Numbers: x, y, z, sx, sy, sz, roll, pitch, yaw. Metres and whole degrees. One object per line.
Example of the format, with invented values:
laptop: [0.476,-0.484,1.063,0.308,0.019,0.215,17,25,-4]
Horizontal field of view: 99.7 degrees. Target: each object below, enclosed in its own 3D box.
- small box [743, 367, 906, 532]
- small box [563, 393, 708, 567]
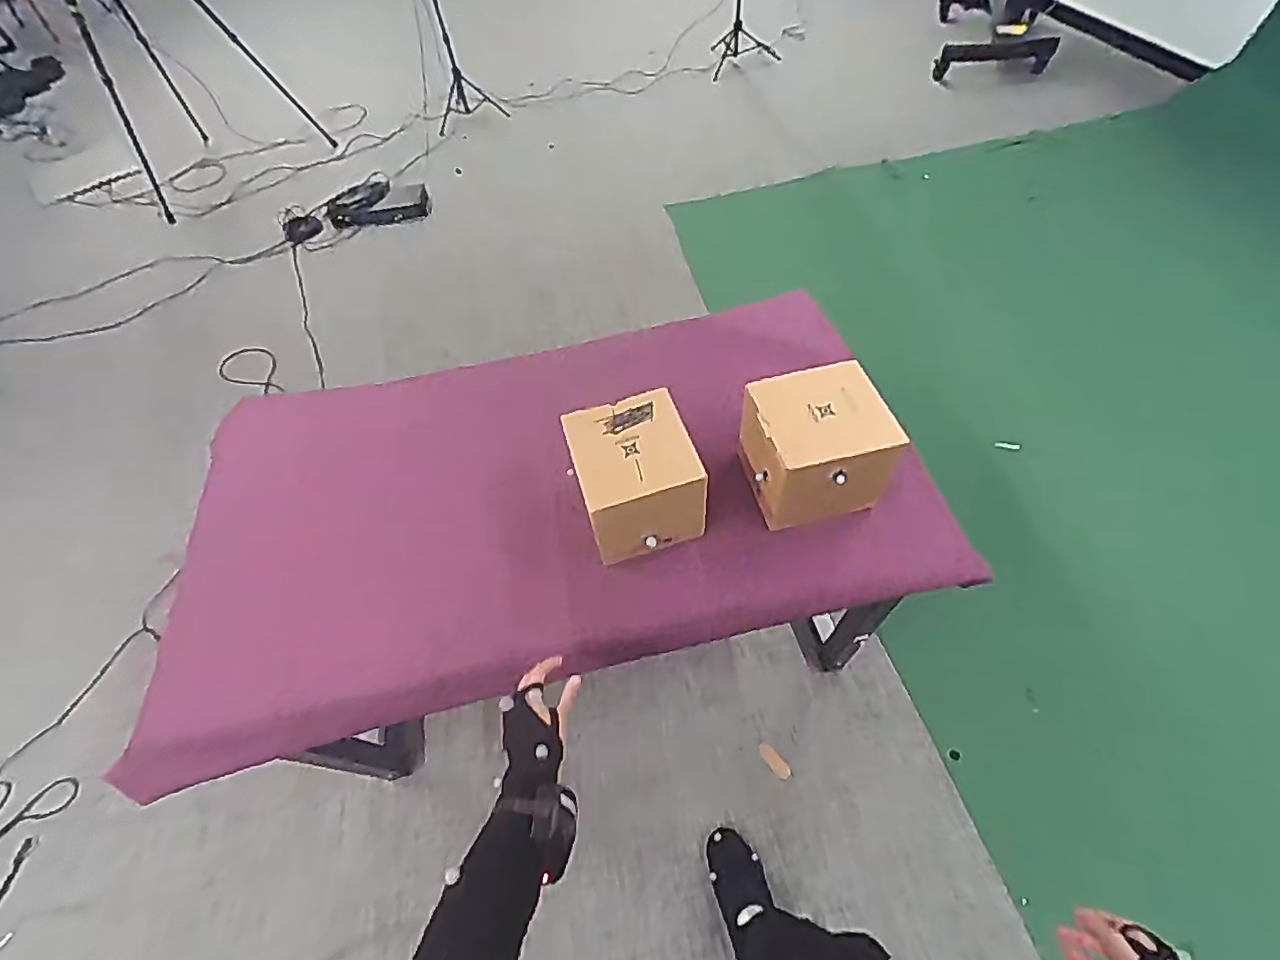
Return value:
small box: [0.261,-0.040,0.819,0.179,0.176,0.168,-12,54,-3]
small box: [-0.007,0.003,0.813,0.168,0.176,0.179,-17,56,-6]
